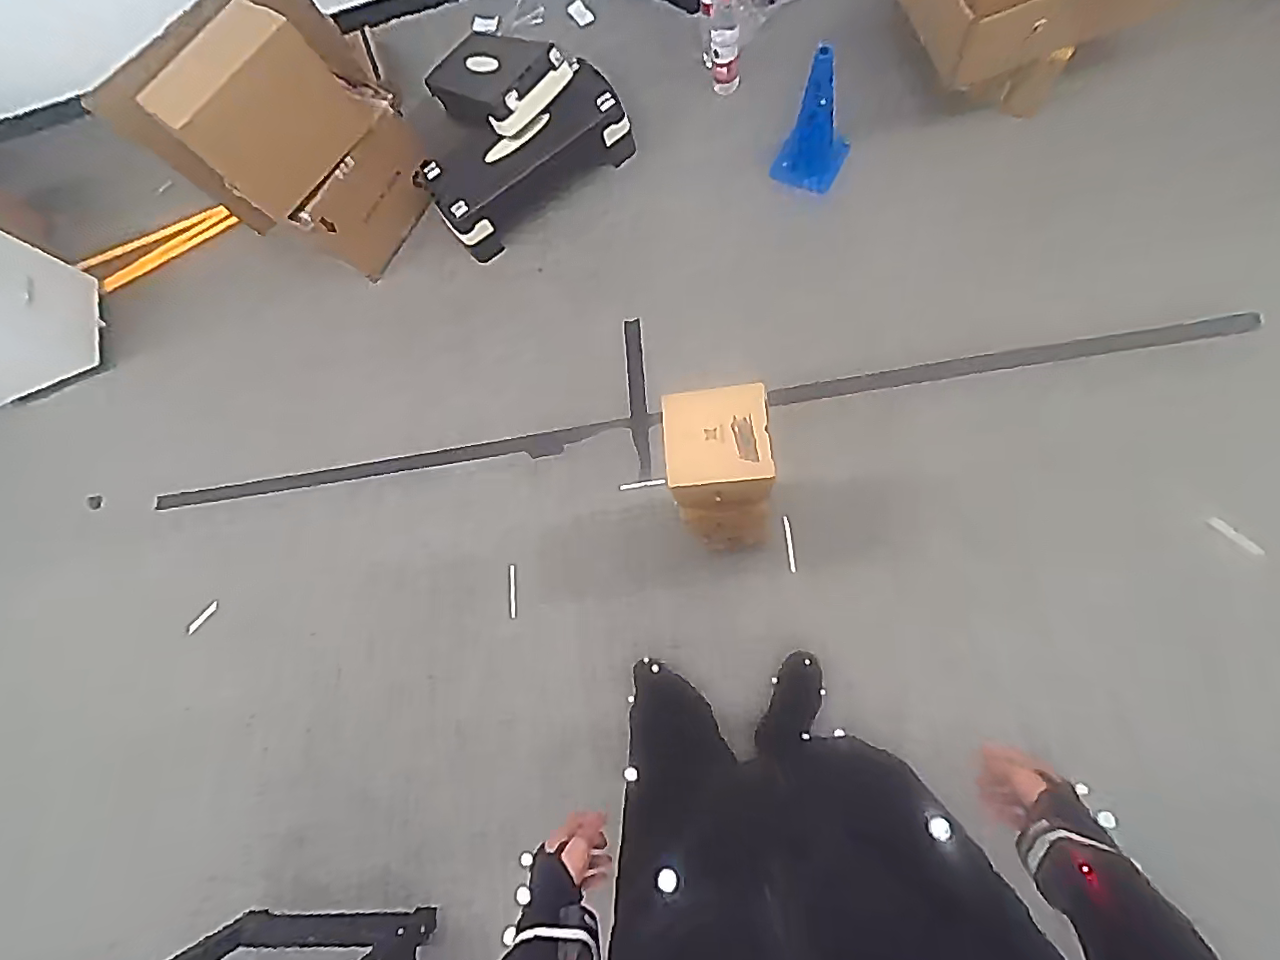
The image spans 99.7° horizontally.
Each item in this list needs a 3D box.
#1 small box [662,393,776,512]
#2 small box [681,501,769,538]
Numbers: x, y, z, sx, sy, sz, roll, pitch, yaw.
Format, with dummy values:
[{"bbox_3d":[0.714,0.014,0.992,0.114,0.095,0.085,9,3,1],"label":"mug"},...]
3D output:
[{"bbox_3d":[0.141,-0.041,0.965,0.179,0.176,0.168,-6,75,10],"label":"small box"},{"bbox_3d":[0.168,0.016,1.118,0.168,0.176,0.179,-7,76,9],"label":"small box"}]
